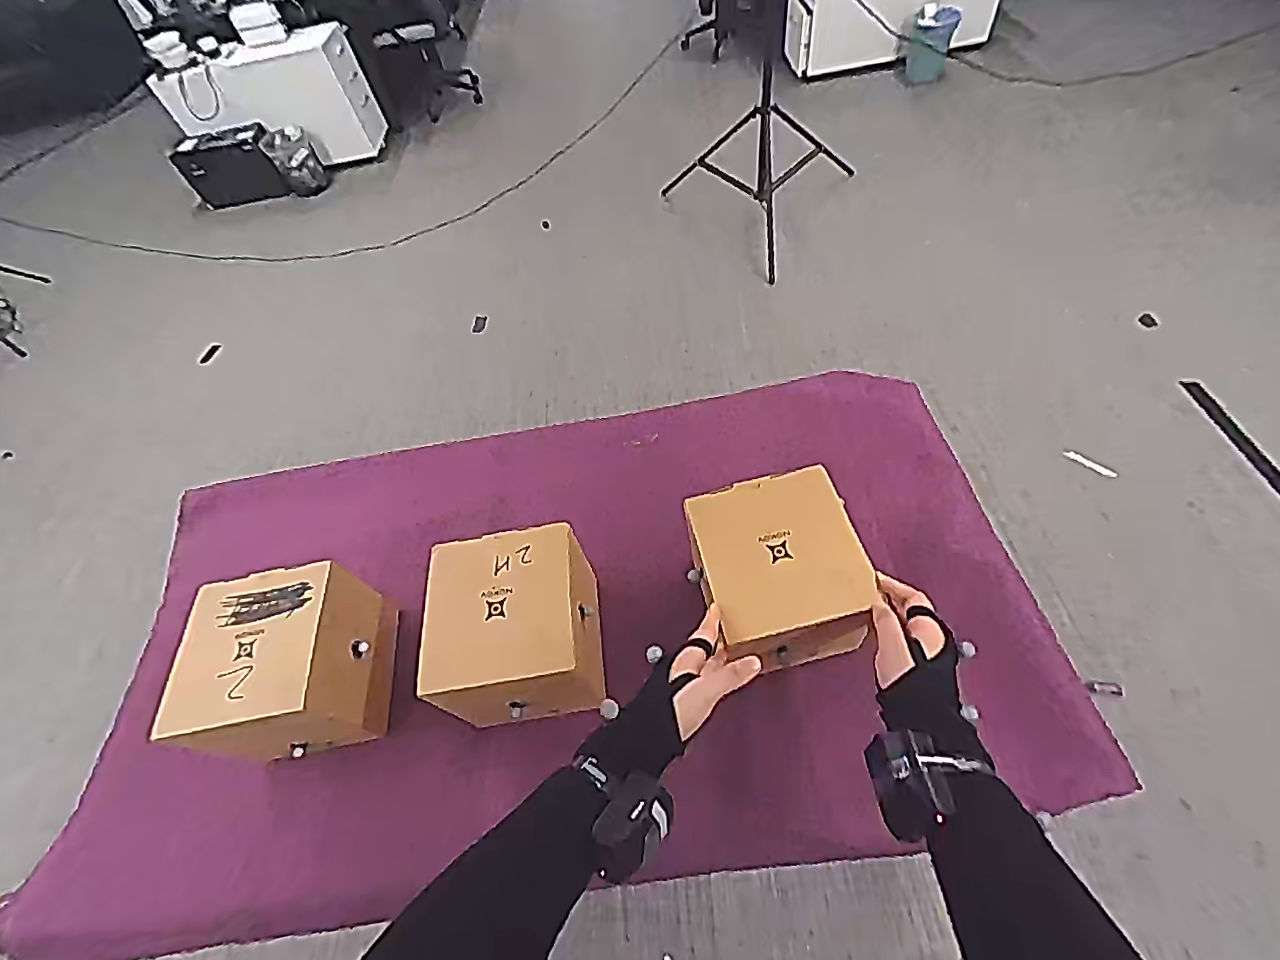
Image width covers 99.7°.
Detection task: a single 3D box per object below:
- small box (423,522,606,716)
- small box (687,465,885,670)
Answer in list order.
[{"bbox_3d":[-0.139,0.176,0.656,0.168,0.176,0.179,-10,54,2],"label":"small box"},{"bbox_3d":[0.163,0.114,0.647,0.168,0.176,0.179,-15,55,1],"label":"small box"}]
